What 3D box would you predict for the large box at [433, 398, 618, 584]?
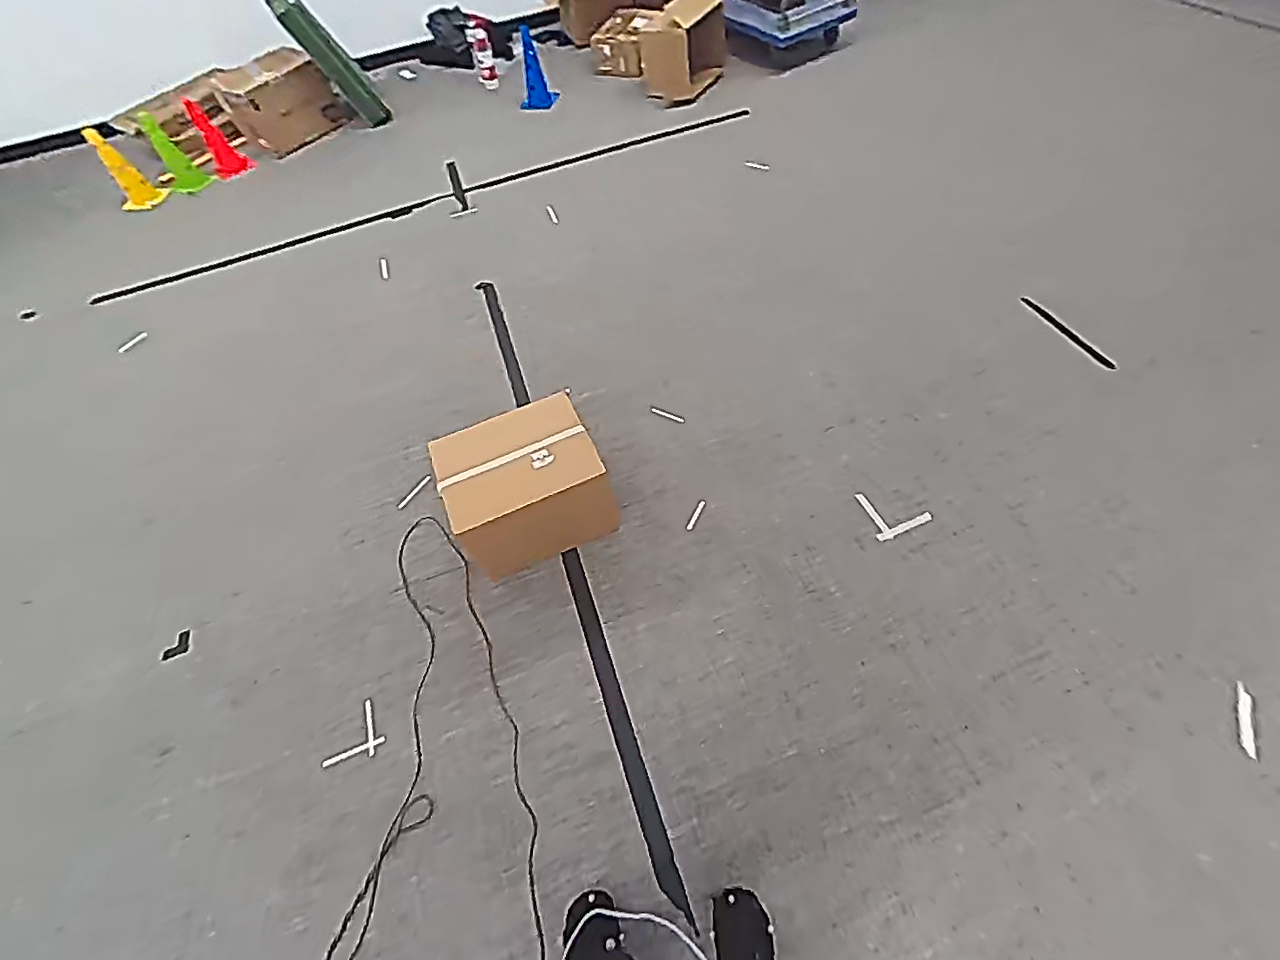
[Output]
[{"bbox_3d":[-0.313,0.036,1.541,0.408,0.320,0.320,-22,58,-10],"label":"large box"}]
